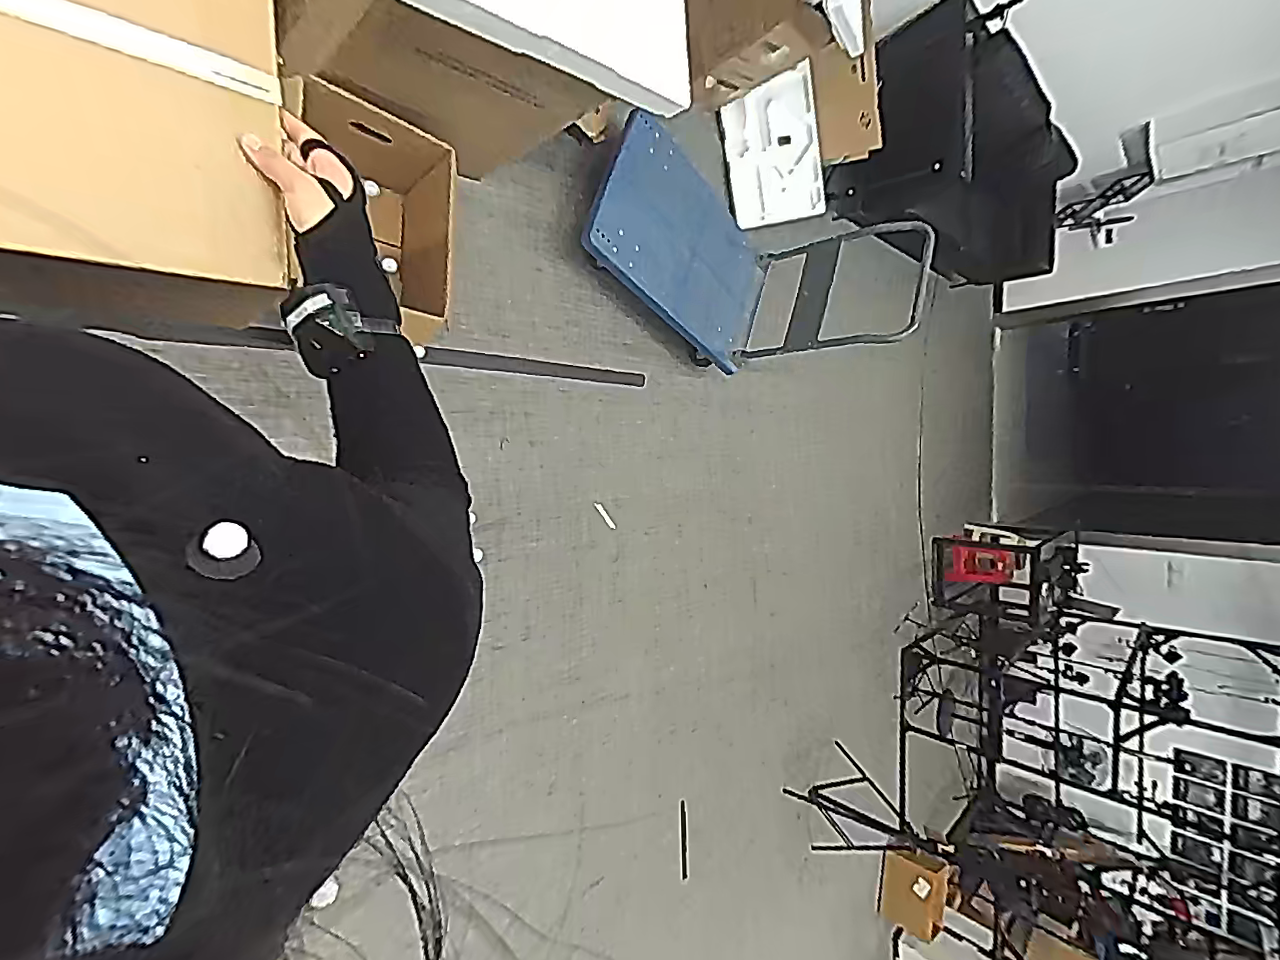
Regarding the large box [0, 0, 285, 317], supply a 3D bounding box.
[{"bbox_3d":[-0.559,-0.324,0.438,0.408,0.320,0.320,-6,98,-42],"label":"large box"}]
